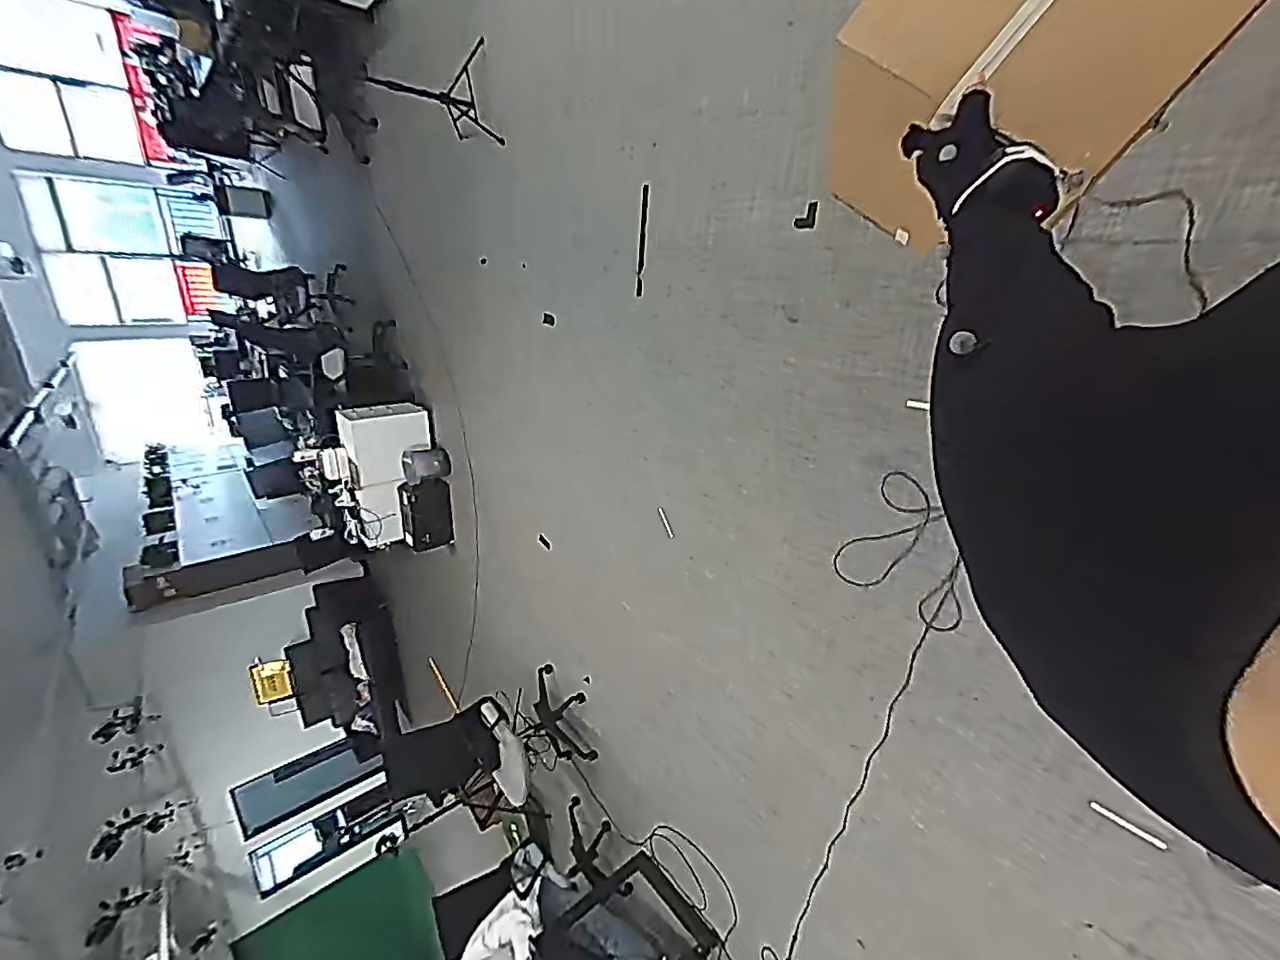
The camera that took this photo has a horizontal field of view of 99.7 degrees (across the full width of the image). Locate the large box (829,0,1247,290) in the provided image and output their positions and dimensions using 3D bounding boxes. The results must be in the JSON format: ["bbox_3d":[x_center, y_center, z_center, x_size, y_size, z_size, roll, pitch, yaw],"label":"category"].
[{"bbox_3d":[0.500,-0.540,0.697,0.320,0.320,0.408,44,102,15],"label":"large box"}]
